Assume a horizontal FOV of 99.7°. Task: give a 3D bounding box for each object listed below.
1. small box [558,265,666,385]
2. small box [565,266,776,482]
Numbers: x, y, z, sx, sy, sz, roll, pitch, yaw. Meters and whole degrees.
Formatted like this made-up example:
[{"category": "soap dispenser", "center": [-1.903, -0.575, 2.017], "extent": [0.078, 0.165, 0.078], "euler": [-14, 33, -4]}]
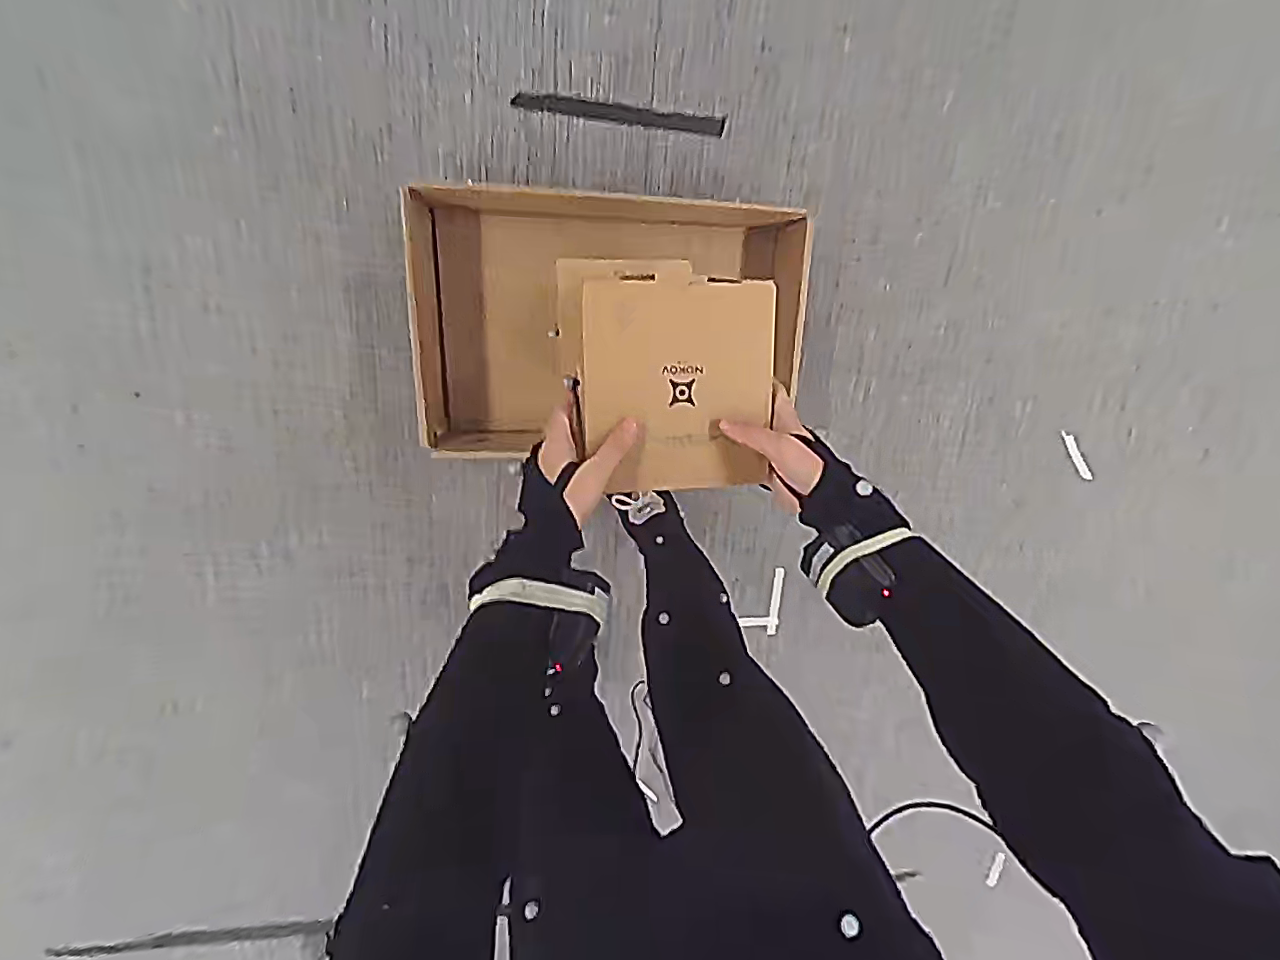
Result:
[{"category": "small box", "center": [-0.049, -0.254, 0.896], "extent": [0.168, 0.176, 0.179], "euler": [-2, 108, -8]}, {"category": "small box", "center": [0.017, -0.105, 0.533], "extent": [0.168, 0.176, 0.179], "euler": [-3, 105, -13]}]
